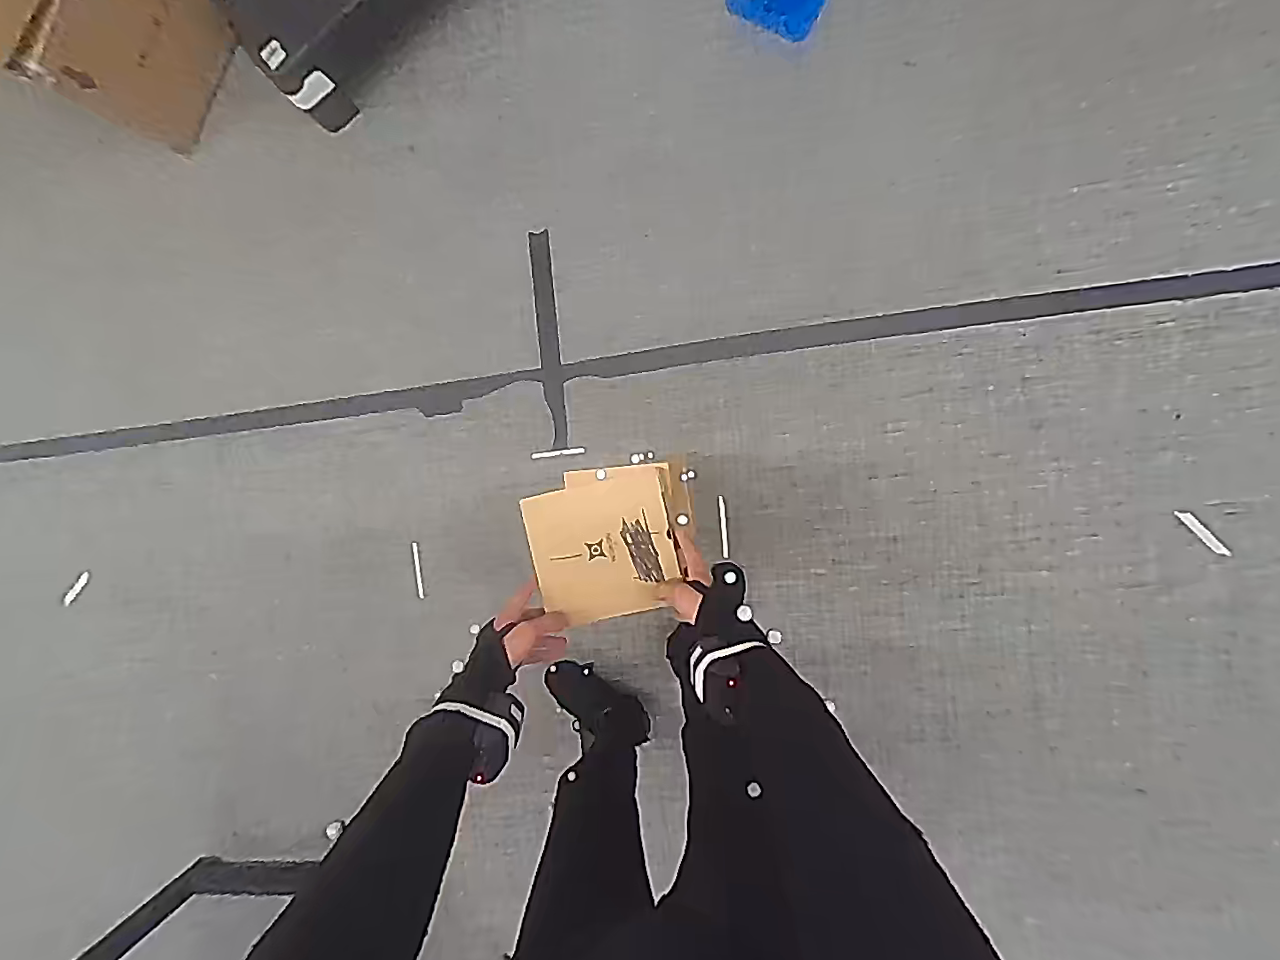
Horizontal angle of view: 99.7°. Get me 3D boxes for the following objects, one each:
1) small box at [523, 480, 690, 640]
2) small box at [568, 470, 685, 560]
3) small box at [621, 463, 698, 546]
[{"bbox_3d":[-0.035,0.096,0.727,0.179,0.176,0.168,-13,89,6],"label":"small box"},{"bbox_3d":[-0.016,0.076,0.907,0.168,0.176,0.179,-5,94,8],"label":"small box"},{"bbox_3d":[0.038,0.057,1.230,0.168,0.176,0.179,-9,94,9],"label":"small box"}]
